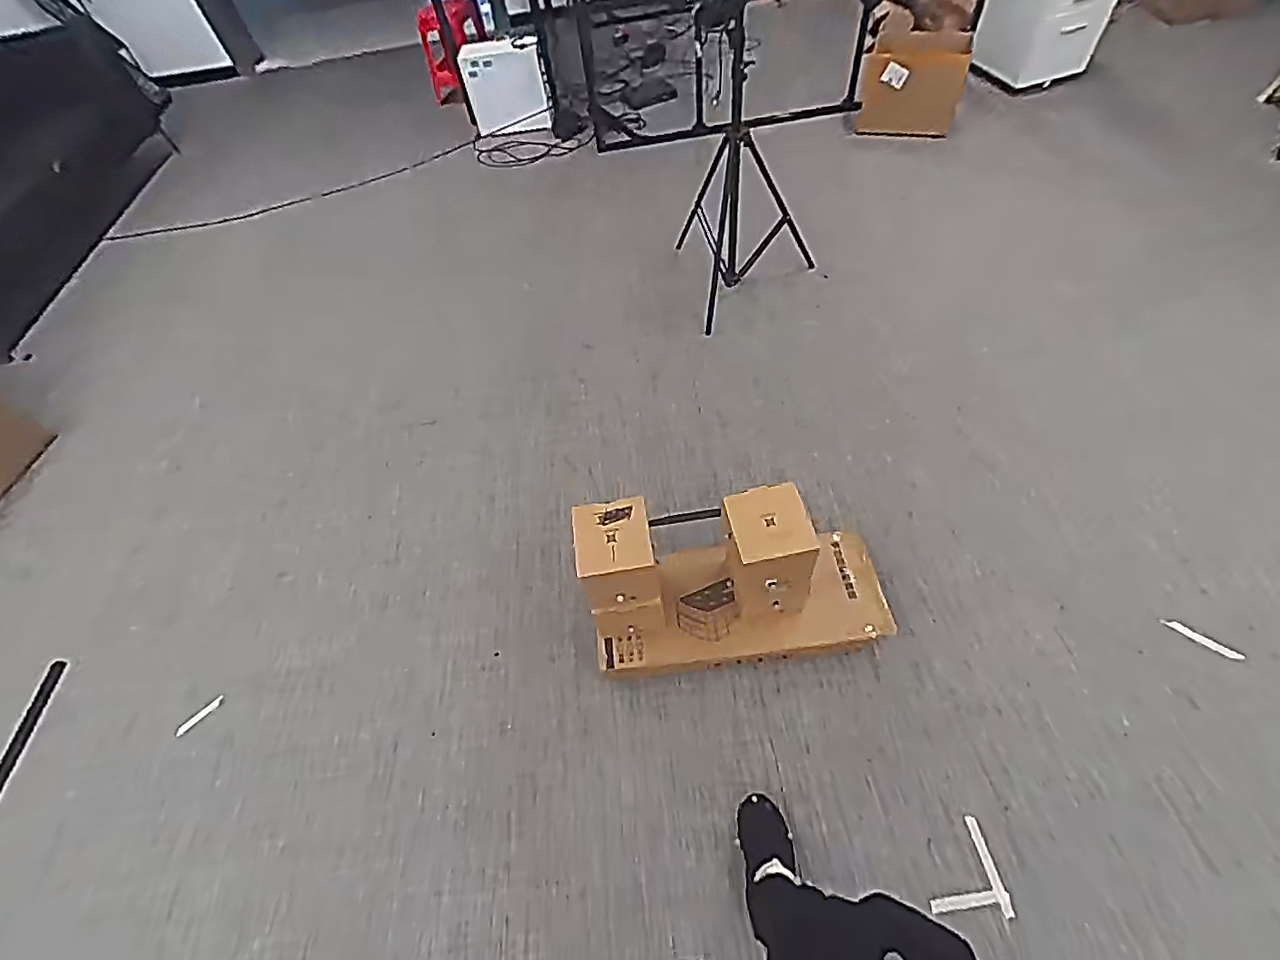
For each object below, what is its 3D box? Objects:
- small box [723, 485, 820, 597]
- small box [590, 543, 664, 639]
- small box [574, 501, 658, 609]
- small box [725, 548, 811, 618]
[{"bbox_3d":[0.285,0.141,1.218,0.168,0.176,0.179,-12,55,0],"label":"small box"},{"bbox_3d":[-0.033,0.279,1.358,0.168,0.176,0.179,-8,55,1],"label":"small box"},{"bbox_3d":[-0.053,0.173,1.233,0.168,0.176,0.179,-9,55,0],"label":"small box"},{"bbox_3d":[0.312,0.233,1.350,0.168,0.176,0.179,-10,55,0],"label":"small box"}]
